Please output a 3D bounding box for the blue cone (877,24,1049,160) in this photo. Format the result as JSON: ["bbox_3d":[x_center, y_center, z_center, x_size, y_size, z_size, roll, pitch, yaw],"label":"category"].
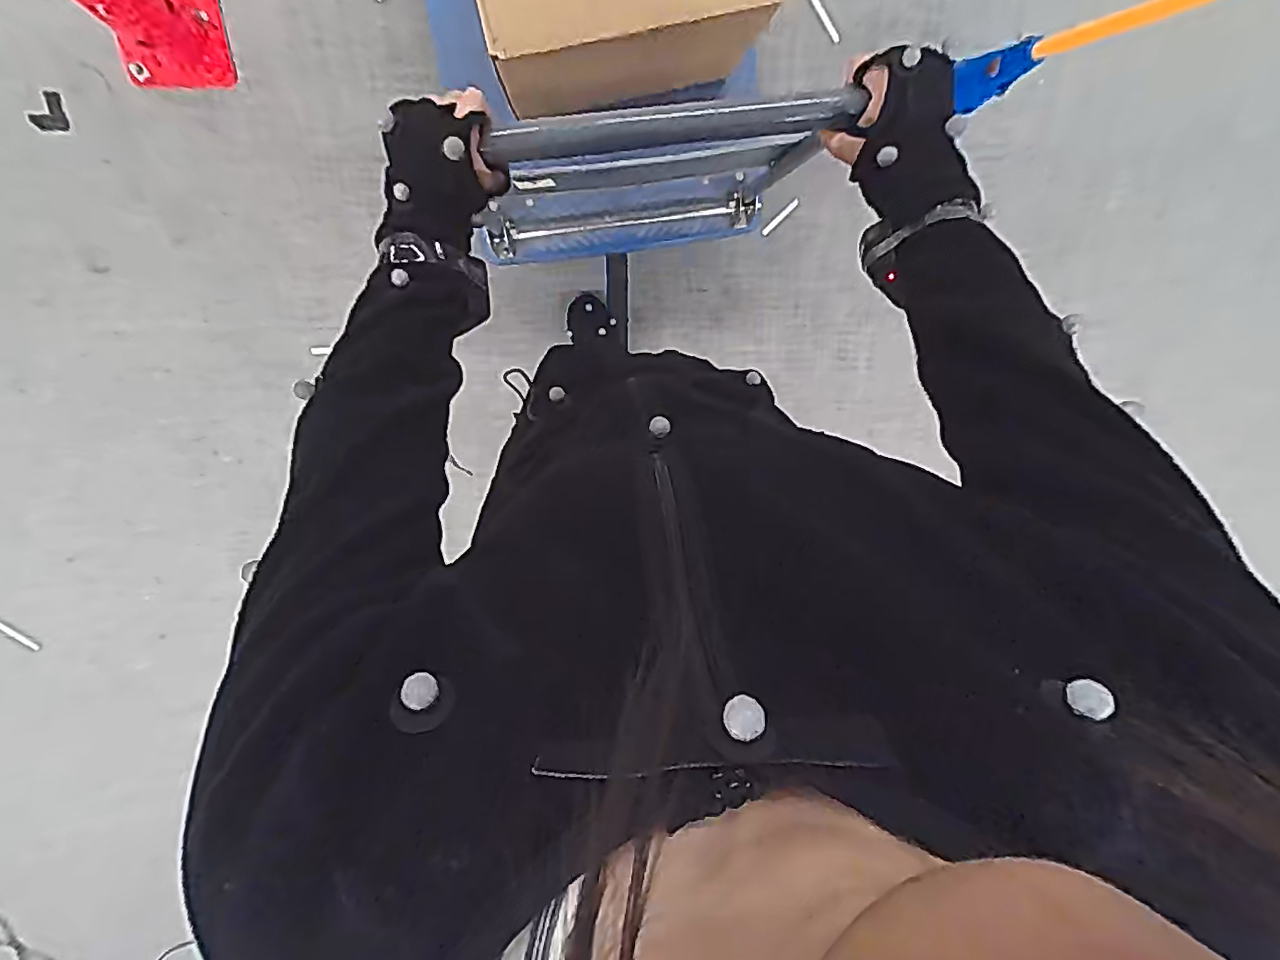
[{"bbox_3d":[0.649,-0.789,1.080,0.193,0.380,0.192,-6,109,-5],"label":"blue cone"}]
